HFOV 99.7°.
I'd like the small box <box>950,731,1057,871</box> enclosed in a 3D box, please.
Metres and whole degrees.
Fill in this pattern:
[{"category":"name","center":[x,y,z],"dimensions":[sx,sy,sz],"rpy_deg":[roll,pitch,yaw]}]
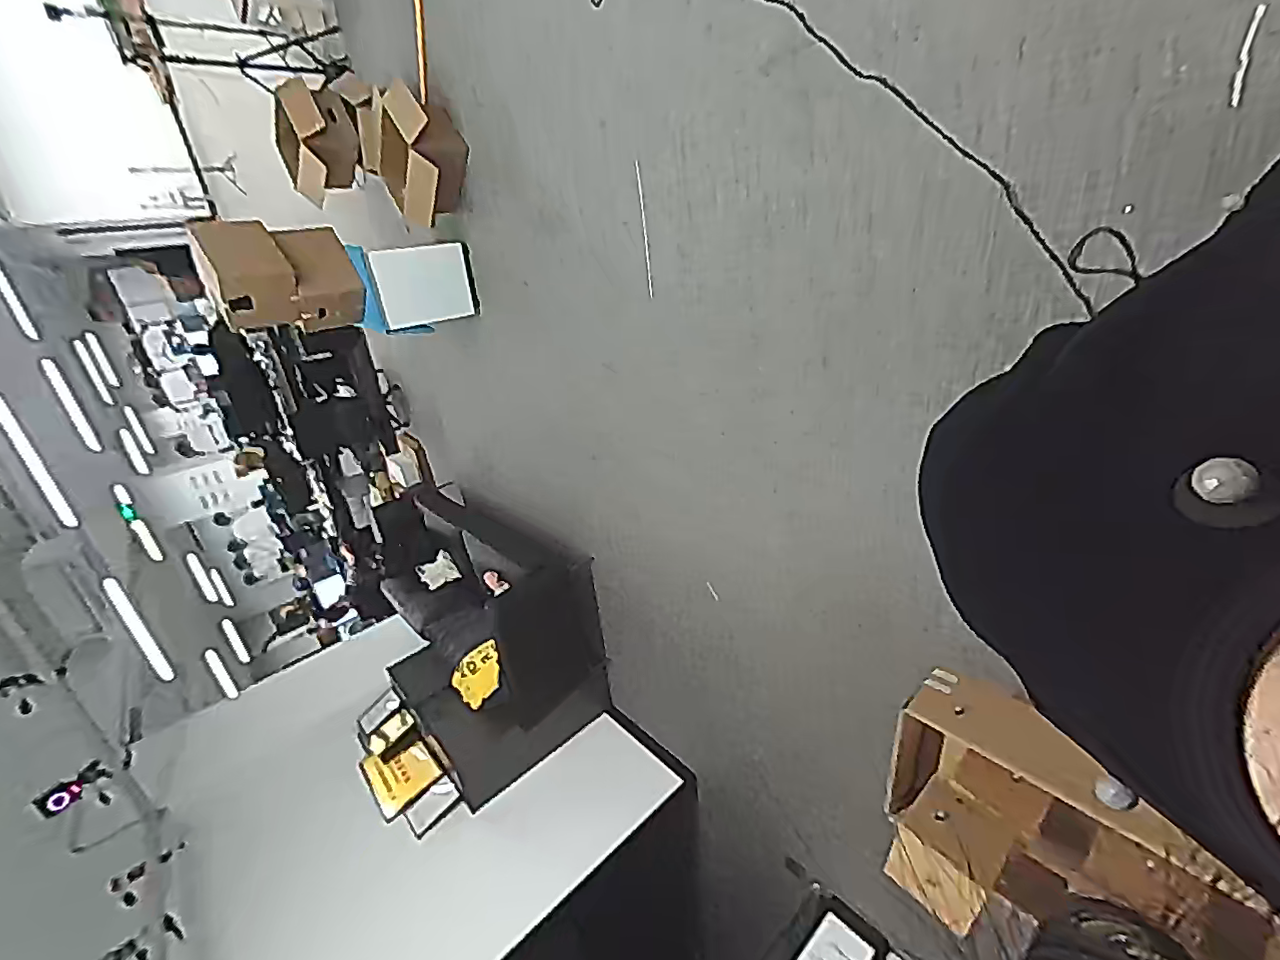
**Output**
[{"category":"small box","center":[0.786,0.708,1.206],"dimensions":[0.168,0.176,0.179],"rpy_deg":[33,134,38]}]

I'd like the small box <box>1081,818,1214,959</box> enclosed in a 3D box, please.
[{"category":"small box","center":[0.955,0.808,1.036],"dimensions":[0.168,0.176,0.179],"rpy_deg":[18,124,47]}]

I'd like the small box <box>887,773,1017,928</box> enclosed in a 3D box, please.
[{"category":"small box","center":[0.651,0.761,1.129],"dimensions":[0.168,0.176,0.179],"rpy_deg":[29,132,42]}]

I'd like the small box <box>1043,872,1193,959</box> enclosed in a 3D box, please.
[{"category":"small box","center":[0.825,0.849,0.945],"dimensions":[0.168,0.176,0.179],"rpy_deg":[19,125,48]}]
